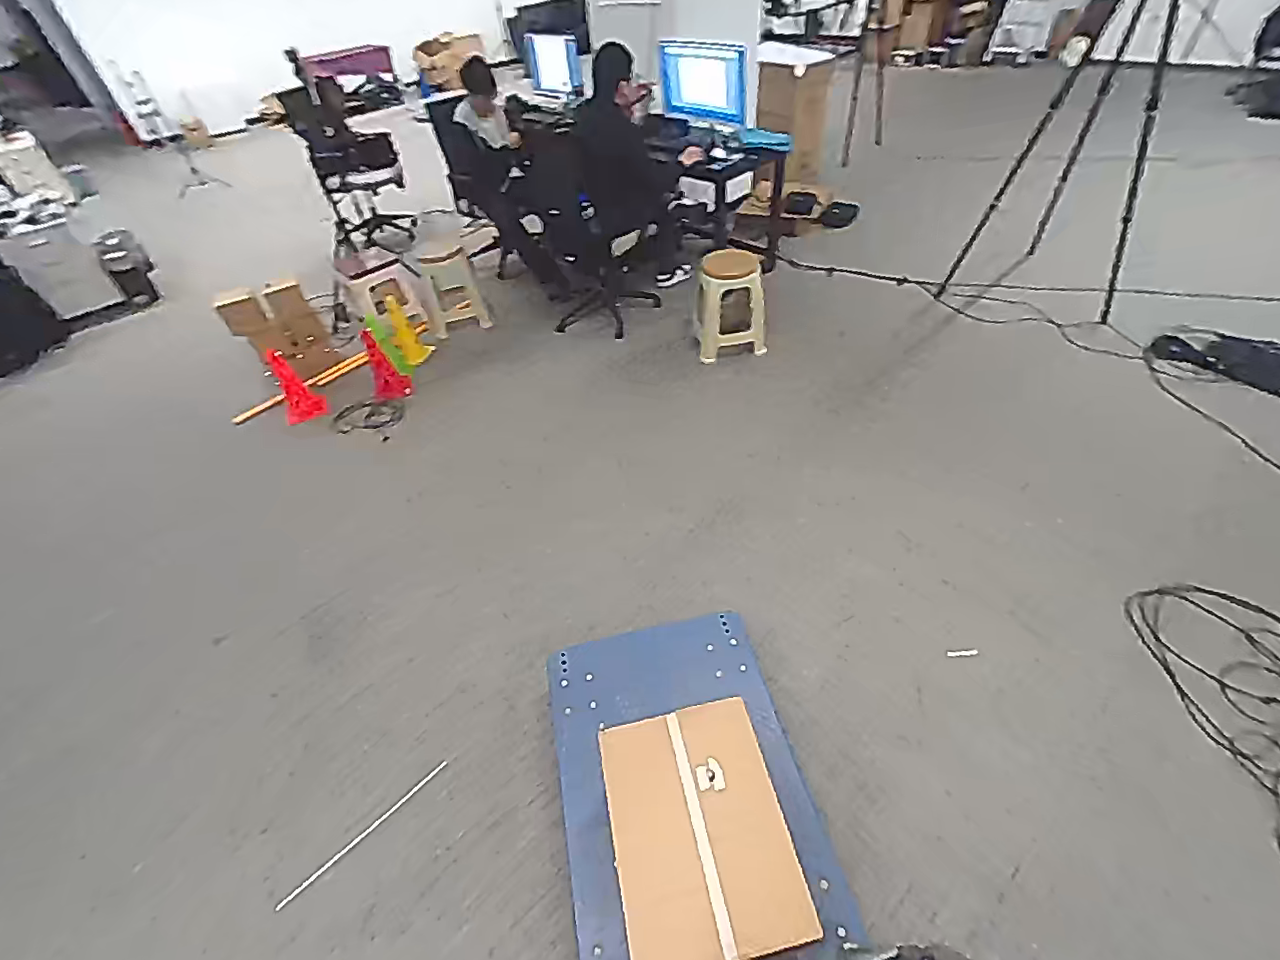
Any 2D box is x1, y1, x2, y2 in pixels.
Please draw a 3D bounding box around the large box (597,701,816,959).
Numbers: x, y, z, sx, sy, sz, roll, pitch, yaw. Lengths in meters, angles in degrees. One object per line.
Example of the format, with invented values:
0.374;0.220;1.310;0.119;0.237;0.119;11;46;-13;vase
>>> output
0.115;0.745;1.109;0.320;0.320;0.408;-12;44;-5;large box
